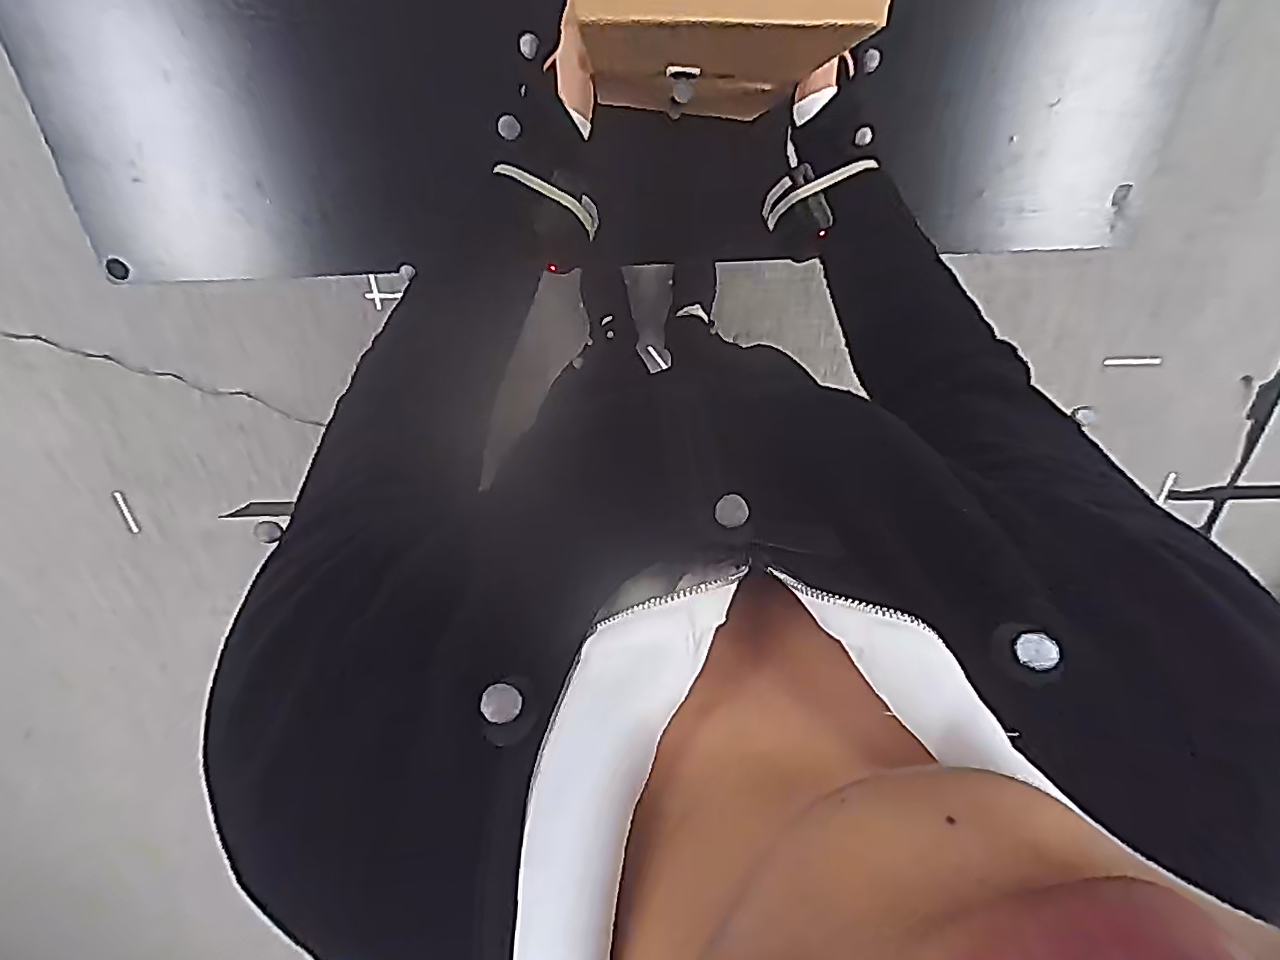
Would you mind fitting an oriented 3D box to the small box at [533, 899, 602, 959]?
[{"bbox_3d":[-0.227,1.493,1.742,0.179,0.176,0.168,-9,114,4],"label":"small box"}]

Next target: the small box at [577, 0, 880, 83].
[{"bbox_3d":[0.047,-0.360,0.323,0.168,0.176,0.179,0,119,-1],"label":"small box"}]

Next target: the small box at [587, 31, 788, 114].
[{"bbox_3d":[0.046,-0.435,0.467,0.168,0.176,0.179,4,116,-4],"label":"small box"}]
